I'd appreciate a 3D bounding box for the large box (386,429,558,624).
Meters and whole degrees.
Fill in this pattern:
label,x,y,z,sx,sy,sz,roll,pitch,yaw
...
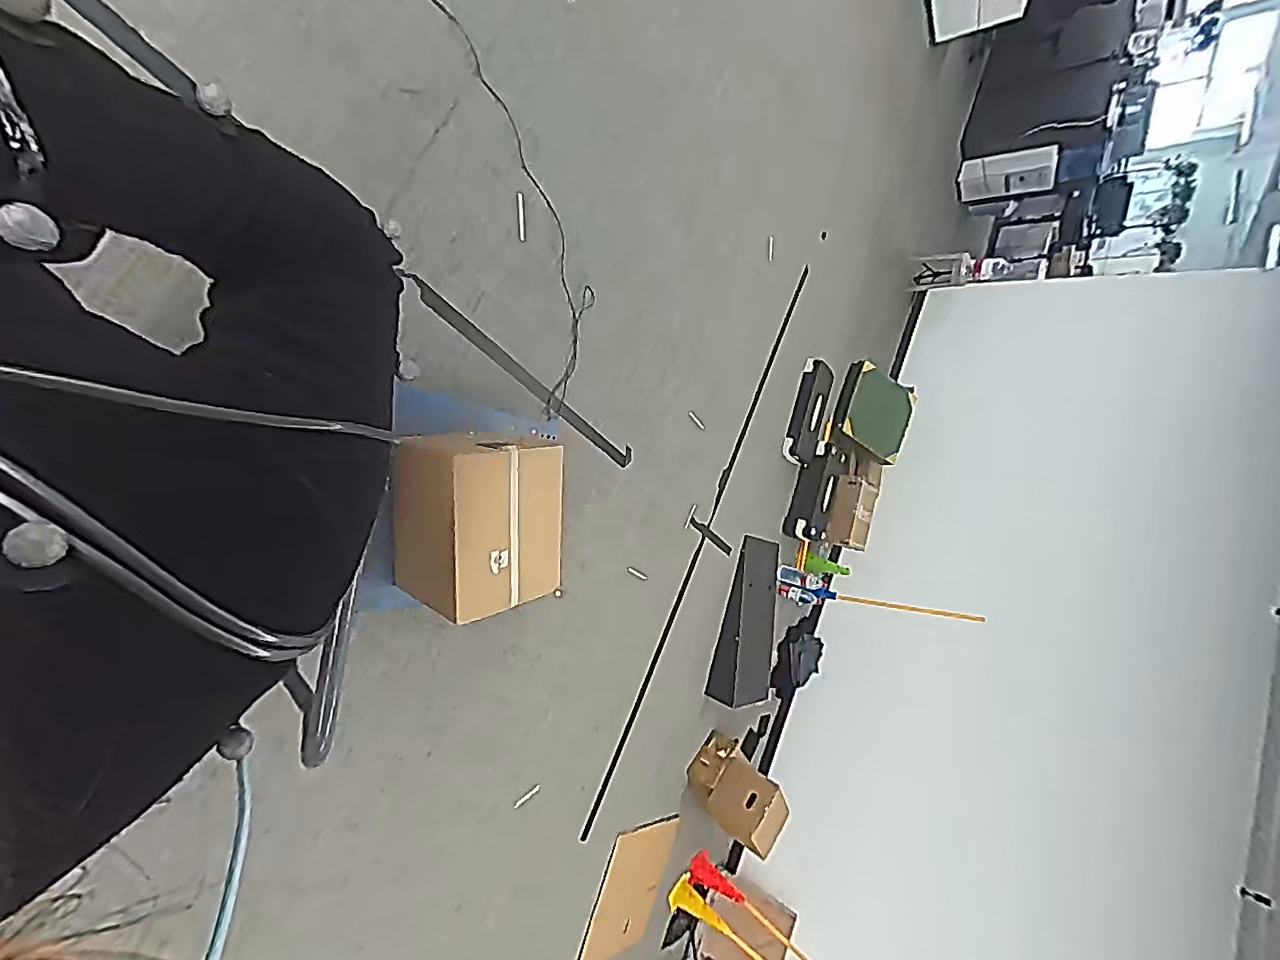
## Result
label,x,y,z,sx,sy,sz,roll,pitch,yaw
large box,-0.431,0.092,1.403,0.320,0.320,0.408,-10,108,-48
